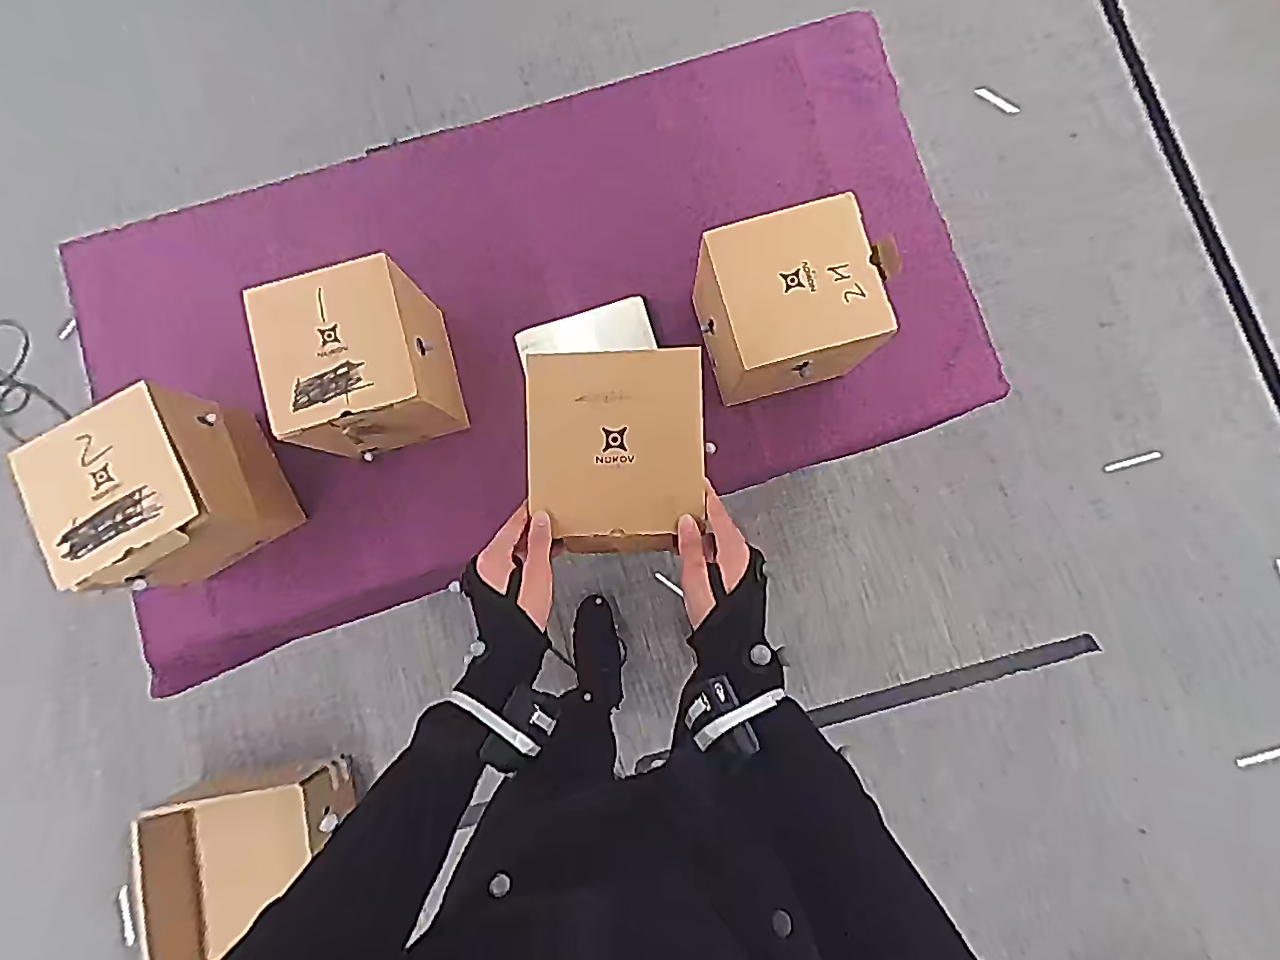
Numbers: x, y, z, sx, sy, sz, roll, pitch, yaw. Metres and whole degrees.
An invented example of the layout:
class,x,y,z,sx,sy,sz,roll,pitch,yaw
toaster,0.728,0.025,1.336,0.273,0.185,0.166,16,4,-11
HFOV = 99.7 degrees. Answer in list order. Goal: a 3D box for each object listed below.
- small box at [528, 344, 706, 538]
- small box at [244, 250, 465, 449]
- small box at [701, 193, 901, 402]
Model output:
class,x,y,z,sx,sy,sz,roll,pitch,yaw
small box,-0.017,-0.035,0.574,0.168,0.176,0.179,-2,89,2
small box,-0.333,-0.143,0.664,0.168,0.176,0.179,-15,83,-1
small box,0.176,-0.206,0.658,0.179,0.176,0.168,-14,84,0
